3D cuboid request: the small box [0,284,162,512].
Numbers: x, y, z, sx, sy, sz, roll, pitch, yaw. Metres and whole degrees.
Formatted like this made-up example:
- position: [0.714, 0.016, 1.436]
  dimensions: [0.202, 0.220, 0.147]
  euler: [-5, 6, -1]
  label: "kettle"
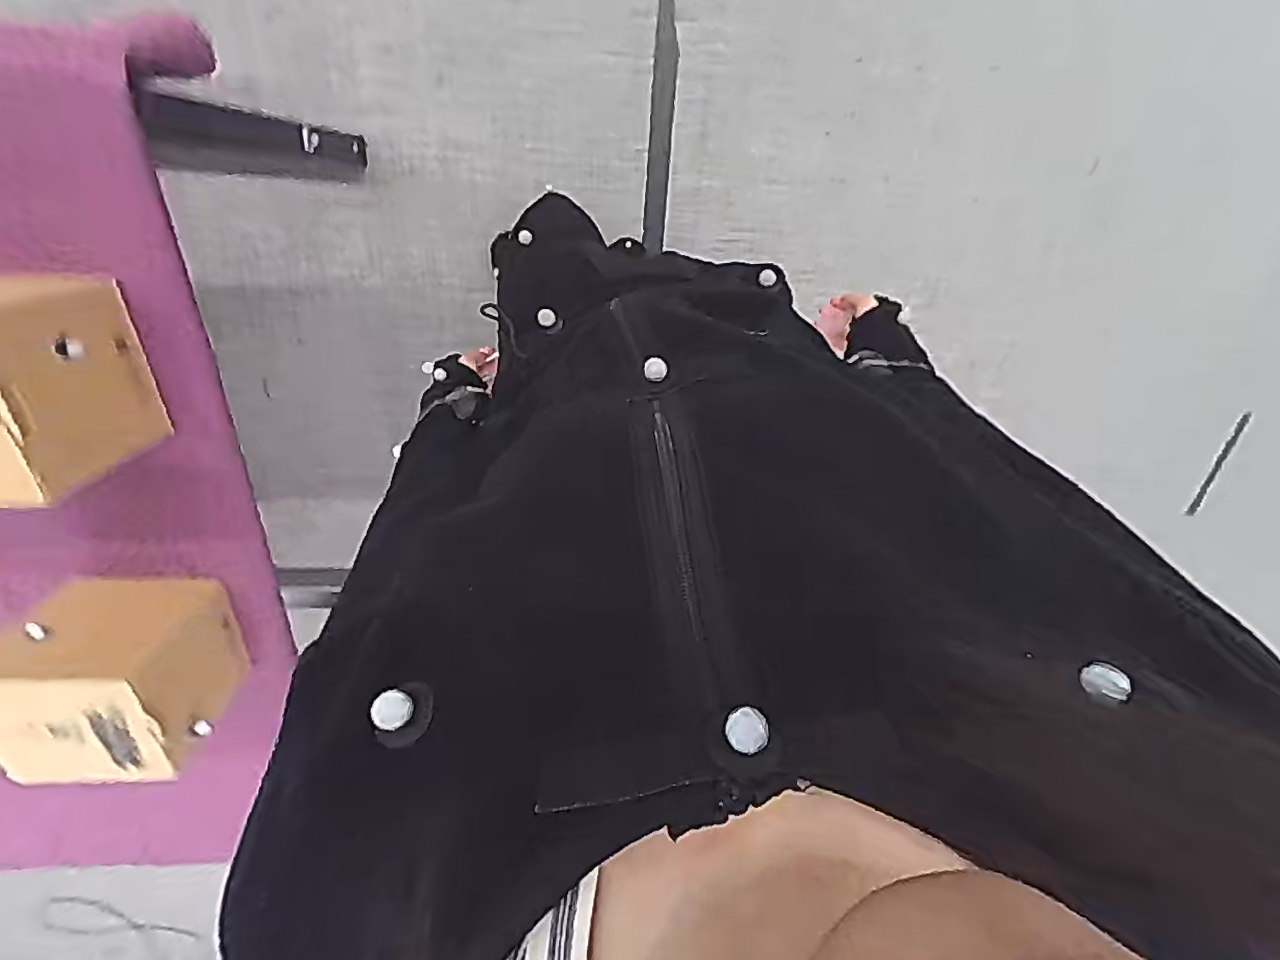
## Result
- position: [-0.596, -0.083, 0.495]
  dimensions: [0.179, 0.176, 0.168]
  euler: [-1, 117, -5]
  label: "small box"
